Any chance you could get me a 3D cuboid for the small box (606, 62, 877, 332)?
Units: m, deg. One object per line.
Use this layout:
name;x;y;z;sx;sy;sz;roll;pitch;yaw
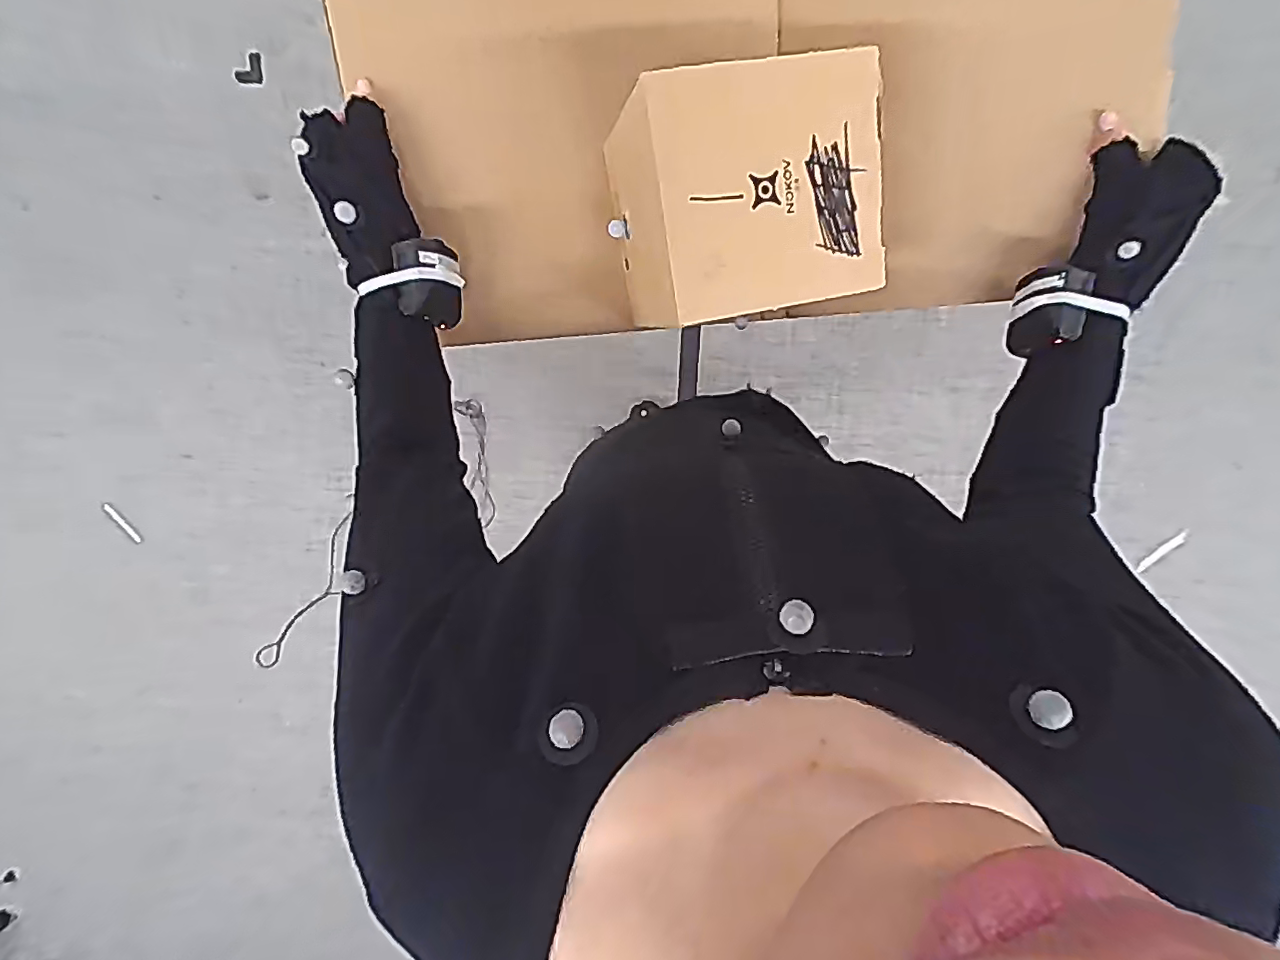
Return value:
small box;0.079;-0.229;0.474;0.179;0.176;0.168;-13;107;-9
